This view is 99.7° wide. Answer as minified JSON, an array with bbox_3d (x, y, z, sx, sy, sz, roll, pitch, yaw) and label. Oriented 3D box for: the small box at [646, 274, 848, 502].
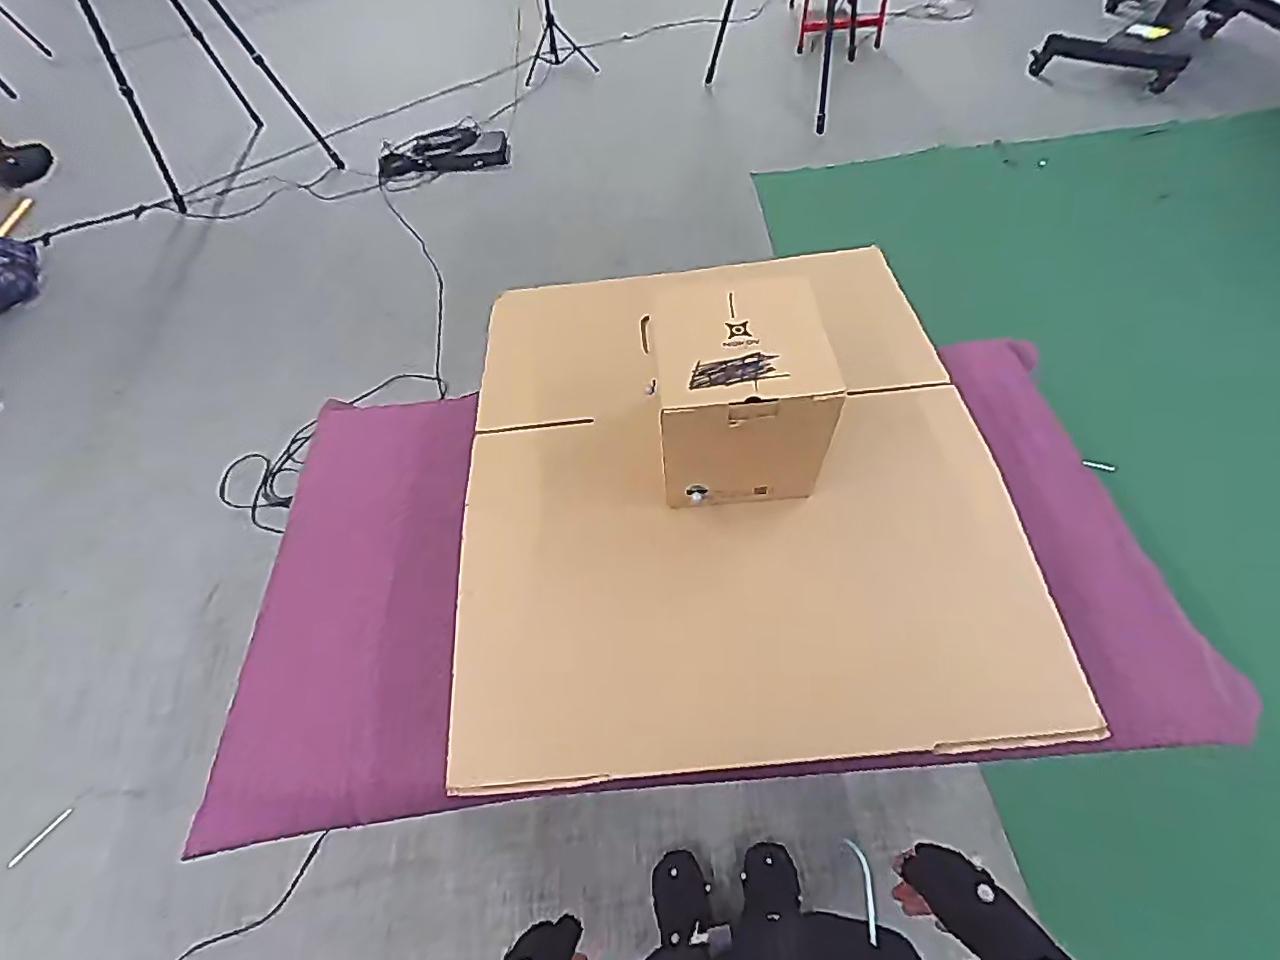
[{"bbox_3d":[0.102,-0.089,0.585,0.168,0.176,0.179,-8,58,0],"label":"small box"}]
